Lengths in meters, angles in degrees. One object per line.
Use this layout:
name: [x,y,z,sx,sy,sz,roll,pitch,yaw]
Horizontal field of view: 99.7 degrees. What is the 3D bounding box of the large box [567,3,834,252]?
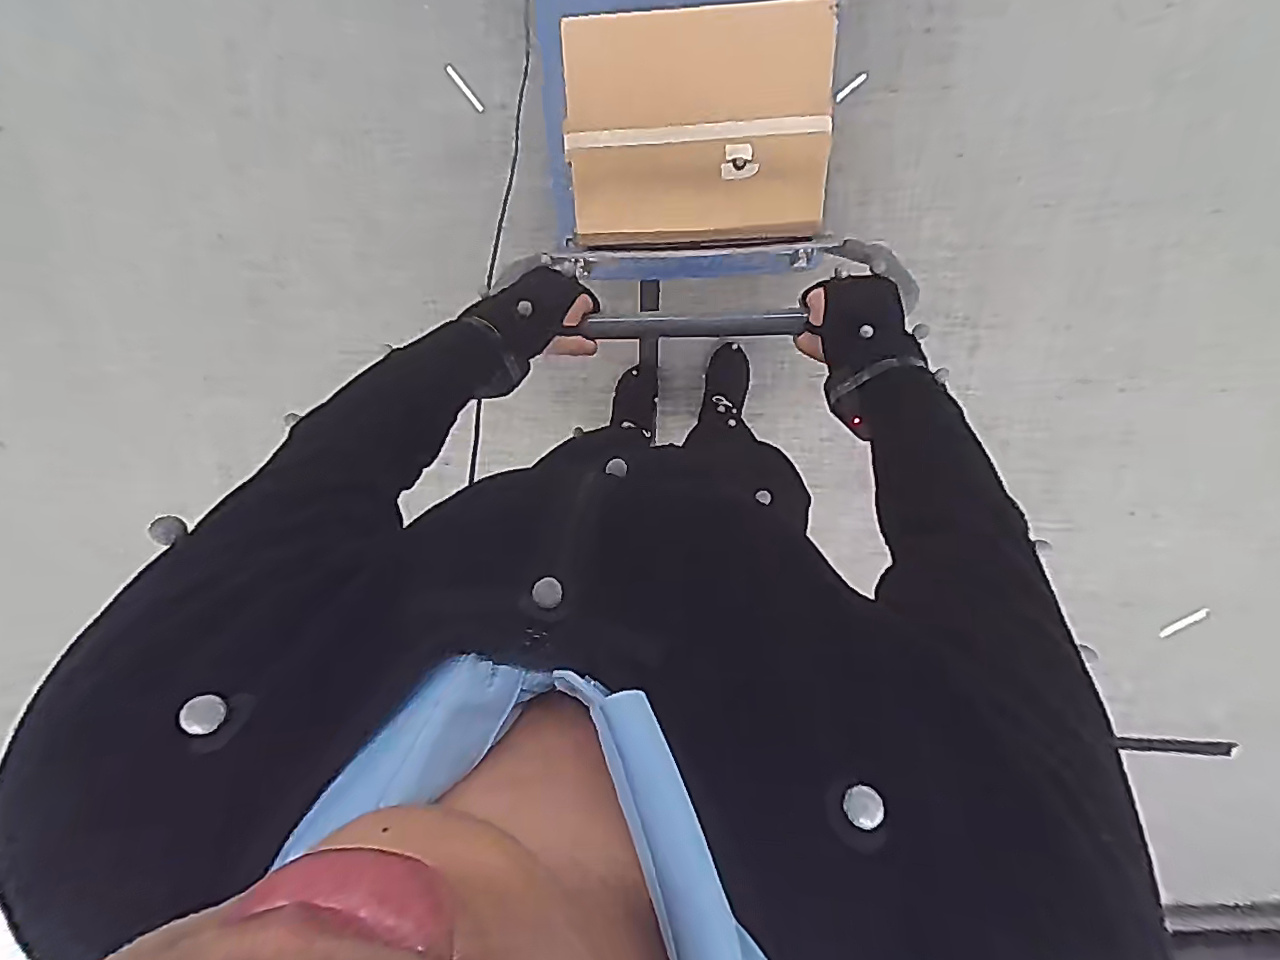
large box: [0.103,-0.602,0.995,0.408,0.320,0.320,-1,113,4]
